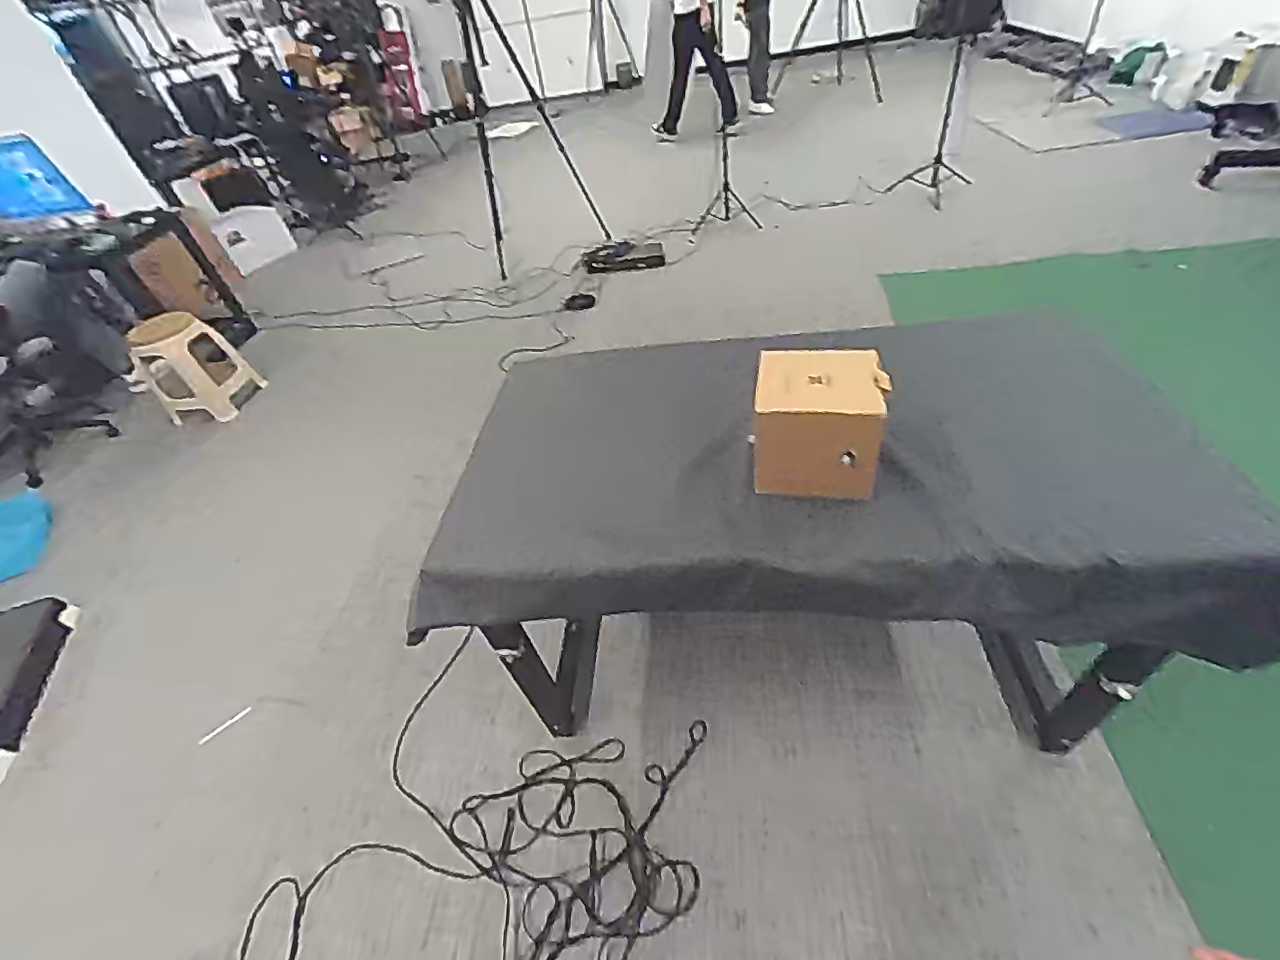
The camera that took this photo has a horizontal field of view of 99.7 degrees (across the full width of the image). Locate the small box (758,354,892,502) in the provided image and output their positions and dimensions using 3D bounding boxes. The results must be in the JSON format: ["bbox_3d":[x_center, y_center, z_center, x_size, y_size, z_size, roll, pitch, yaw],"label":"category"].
[{"bbox_3d":[0.281,-0.080,0.847,0.179,0.176,0.168,2,43,15],"label":"small box"}]
